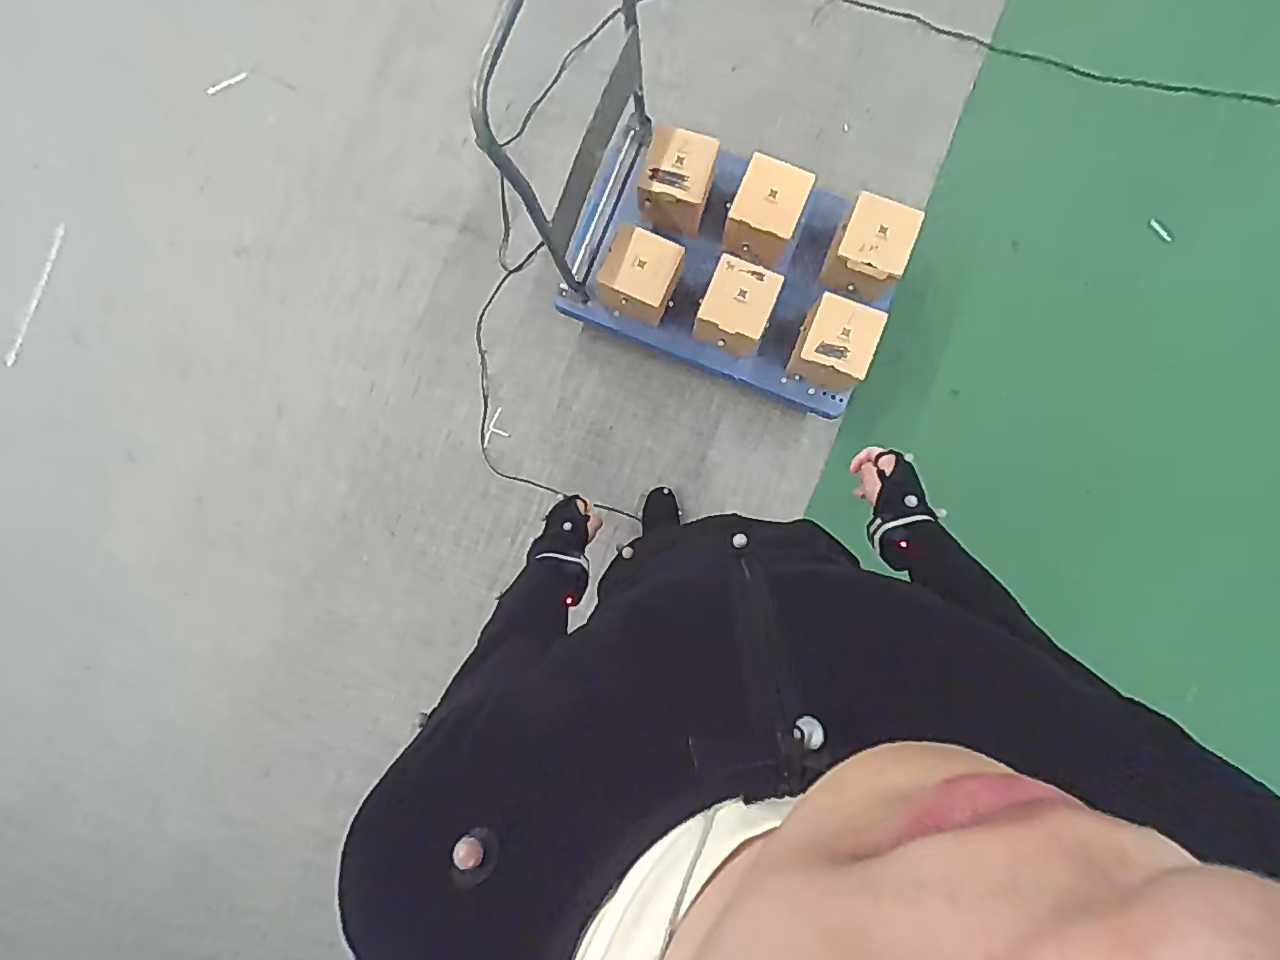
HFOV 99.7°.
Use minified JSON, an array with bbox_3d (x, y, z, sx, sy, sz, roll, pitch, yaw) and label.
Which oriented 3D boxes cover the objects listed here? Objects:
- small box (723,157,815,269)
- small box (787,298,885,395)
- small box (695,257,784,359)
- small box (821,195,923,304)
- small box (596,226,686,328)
[{"bbox_3d":[0.328,-0.689,1.414,0.168,0.176,0.179,23,90,2],"label":"small box"},{"bbox_3d":[0.499,-0.338,1.408,0.168,0.176,0.179,21,88,2],"label":"small box"},{"bbox_3d":[0.249,-0.436,1.404,0.168,0.176,0.179,23,89,2],"label":"small box"},{"bbox_3d":[0.589,-0.588,1.398,0.168,0.176,0.179,22,88,4],"label":"small box"},{"bbox_3d":[0.003,-0.520,1.416,0.179,0.176,0.168,25,89,2],"label":"small box"}]
